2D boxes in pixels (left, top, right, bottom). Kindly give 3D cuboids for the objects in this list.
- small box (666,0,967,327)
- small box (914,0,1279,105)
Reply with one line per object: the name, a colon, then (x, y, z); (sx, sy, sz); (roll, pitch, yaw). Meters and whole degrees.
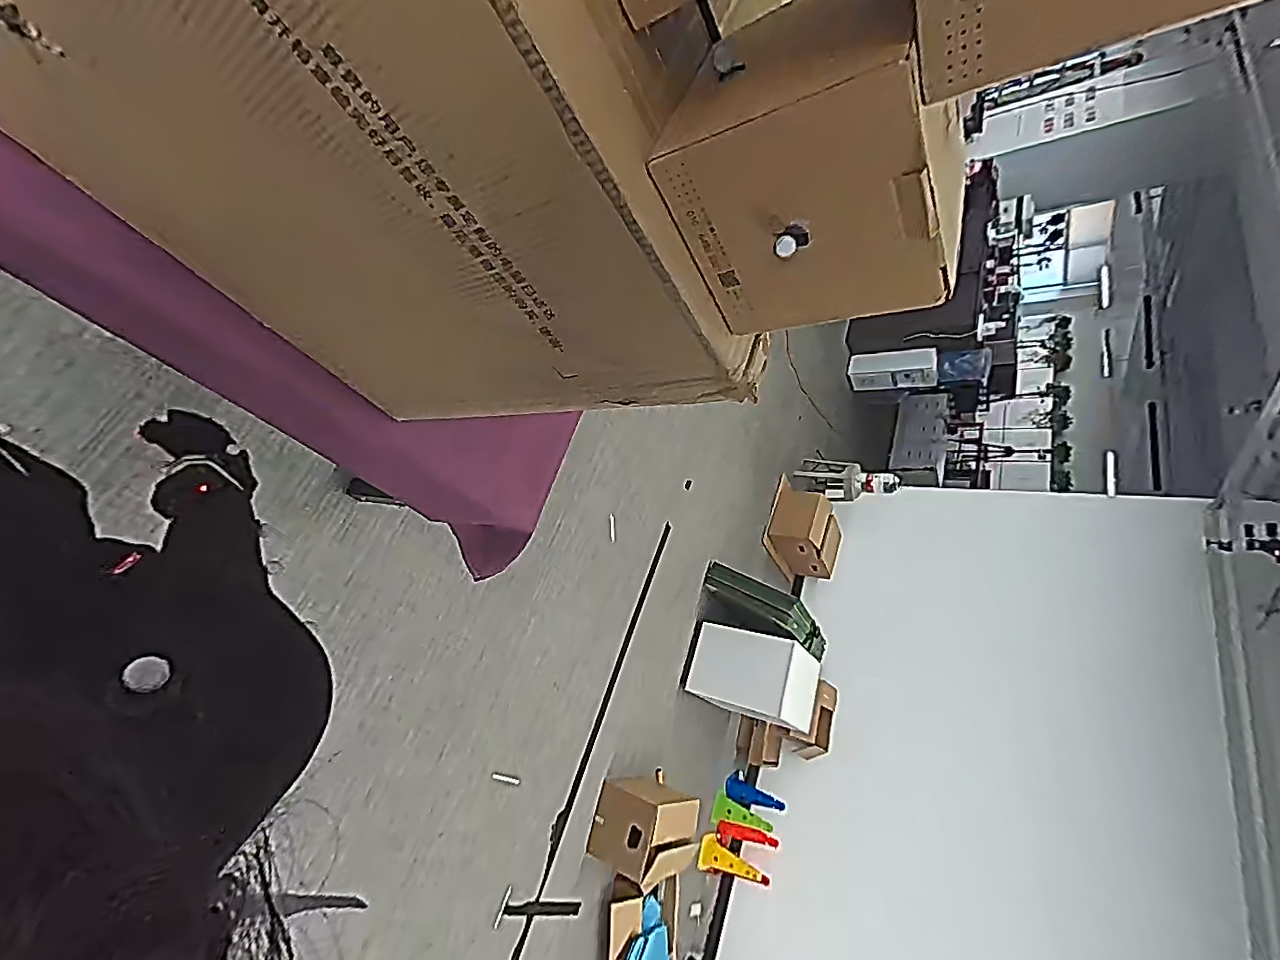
small box: (0.140, -0.242, 0.415); (0.168, 0.176, 0.179); (49, 53, -43)
small box: (0.231, -0.317, 0.254); (0.179, 0.176, 0.168); (-59, 136, -34)
